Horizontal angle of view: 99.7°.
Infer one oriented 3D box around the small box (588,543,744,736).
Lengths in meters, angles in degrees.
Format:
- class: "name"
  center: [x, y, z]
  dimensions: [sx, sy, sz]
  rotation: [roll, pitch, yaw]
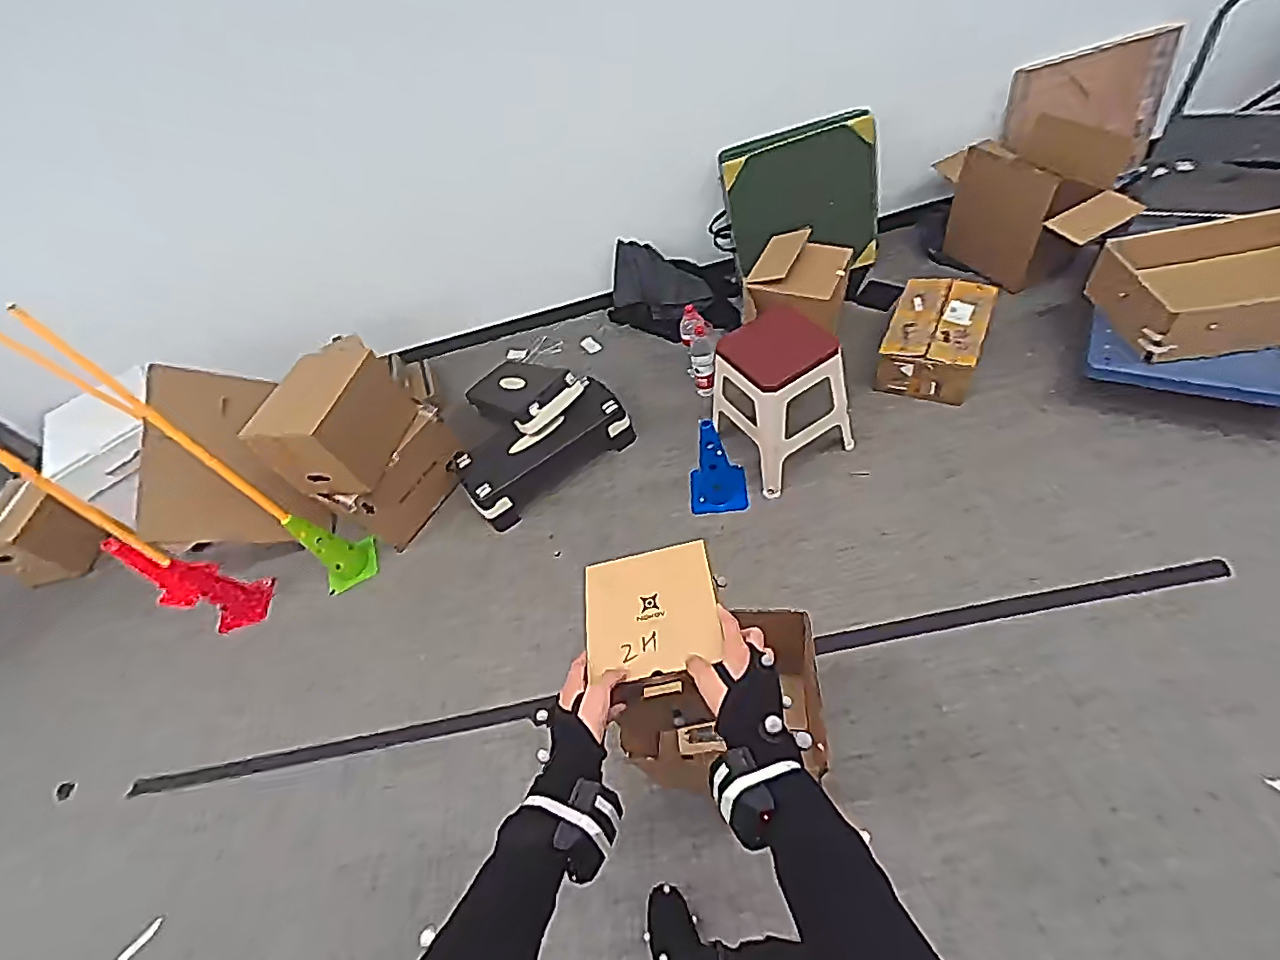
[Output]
- class: "small box"
  center: [0.035, 0.215, 0.723]
  dimensions: [0.168, 0.176, 0.179]
  rotation: [-14, 45, 8]
